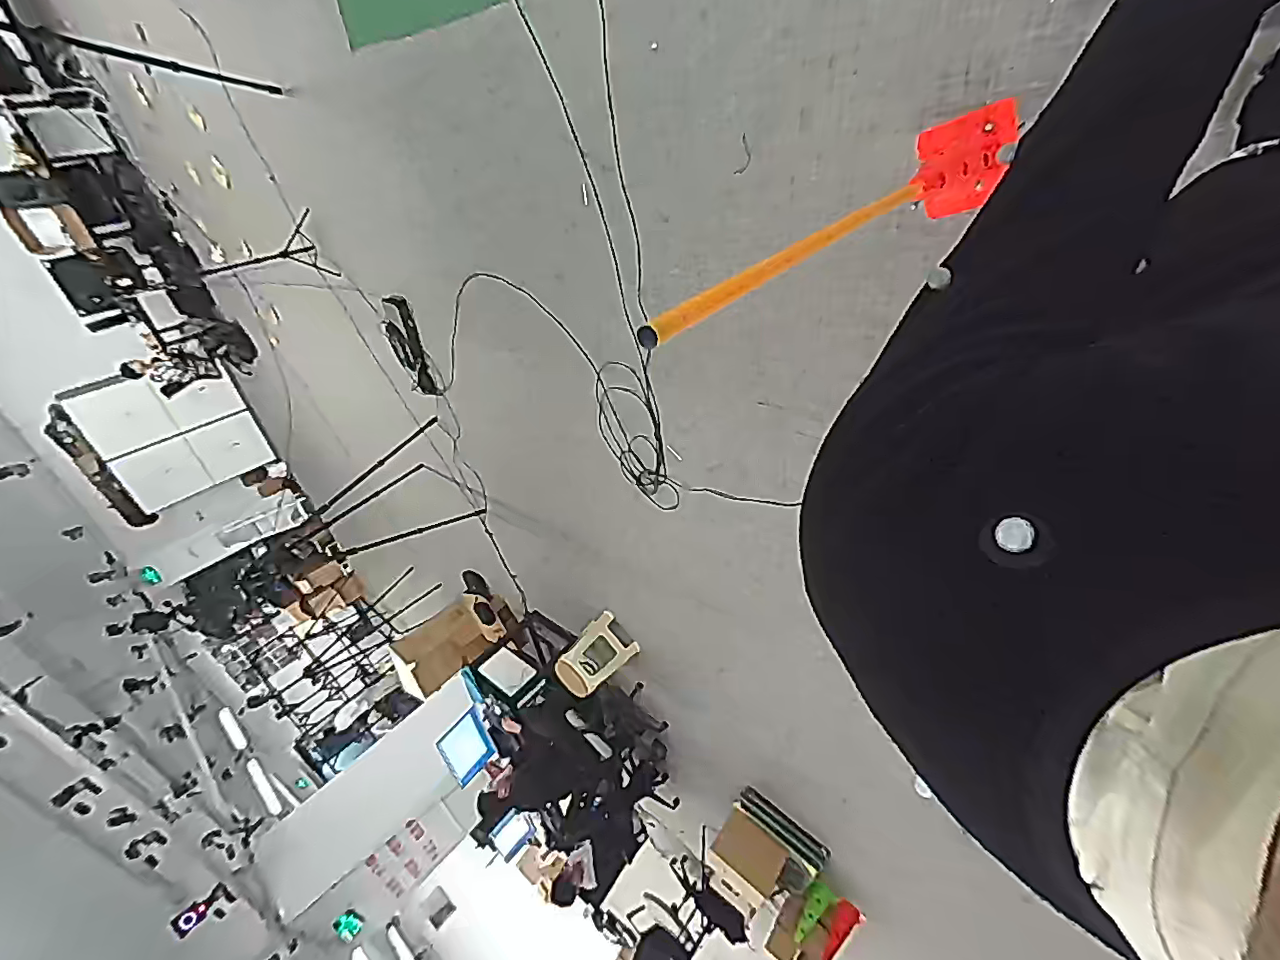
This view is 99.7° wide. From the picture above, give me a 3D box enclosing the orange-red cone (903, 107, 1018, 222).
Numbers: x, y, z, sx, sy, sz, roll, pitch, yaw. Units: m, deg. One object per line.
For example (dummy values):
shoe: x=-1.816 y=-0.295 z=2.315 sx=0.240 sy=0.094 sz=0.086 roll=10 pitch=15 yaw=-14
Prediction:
orange-red cone: x=0.640 y=-0.637 z=1.147 sx=0.199 sy=0.360 sz=0.198 roll=5 pitch=122 yaw=47
